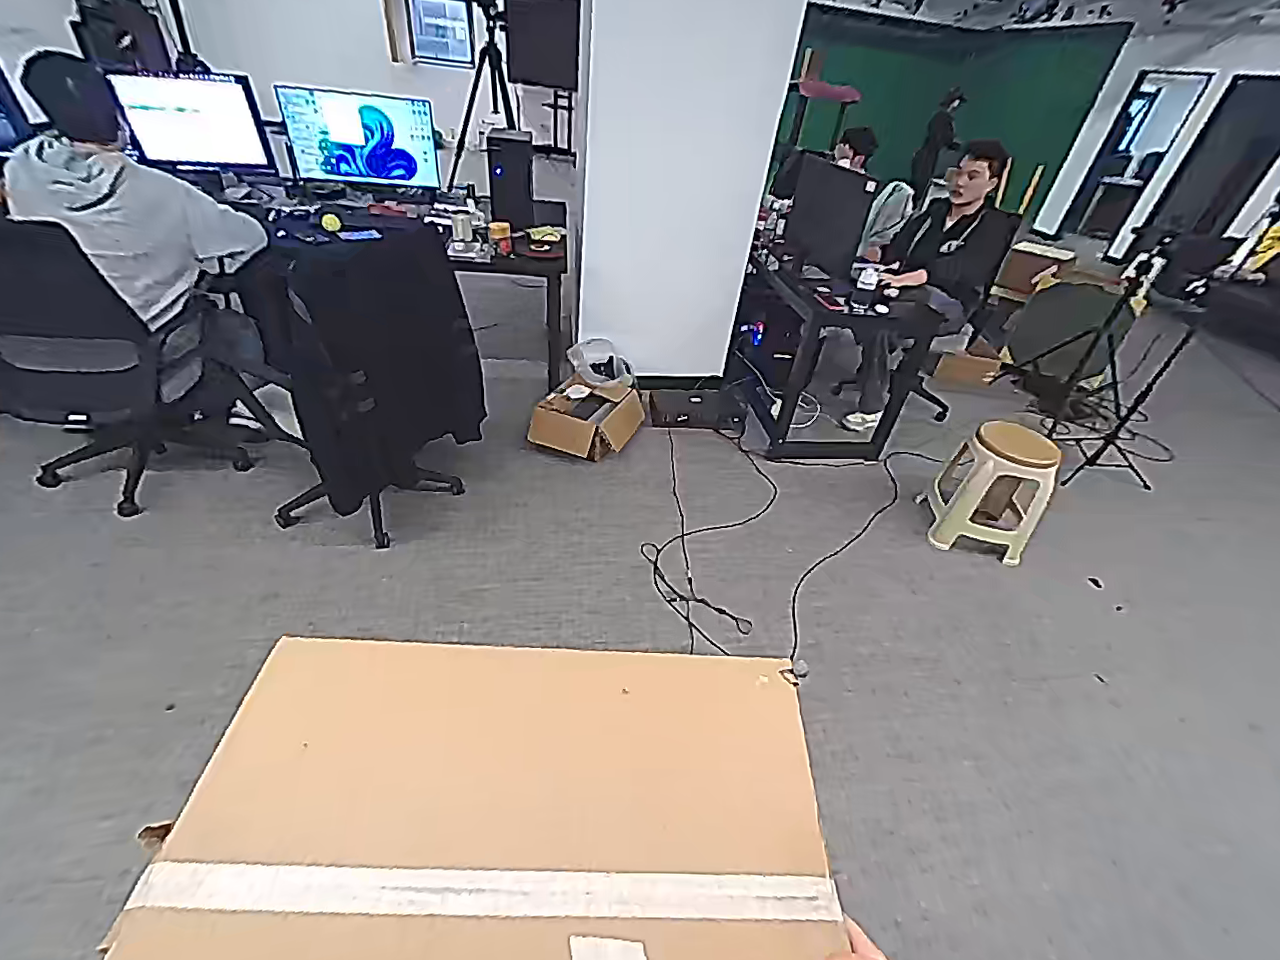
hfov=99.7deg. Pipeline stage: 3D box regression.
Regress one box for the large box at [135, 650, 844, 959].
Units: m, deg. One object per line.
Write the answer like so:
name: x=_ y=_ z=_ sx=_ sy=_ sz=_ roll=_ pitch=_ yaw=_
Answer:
large box: x=-0.090 y=0.357 z=0.431 sx=0.408 sy=0.320 sz=0.320 roll=3 pitch=45 yaw=-3
